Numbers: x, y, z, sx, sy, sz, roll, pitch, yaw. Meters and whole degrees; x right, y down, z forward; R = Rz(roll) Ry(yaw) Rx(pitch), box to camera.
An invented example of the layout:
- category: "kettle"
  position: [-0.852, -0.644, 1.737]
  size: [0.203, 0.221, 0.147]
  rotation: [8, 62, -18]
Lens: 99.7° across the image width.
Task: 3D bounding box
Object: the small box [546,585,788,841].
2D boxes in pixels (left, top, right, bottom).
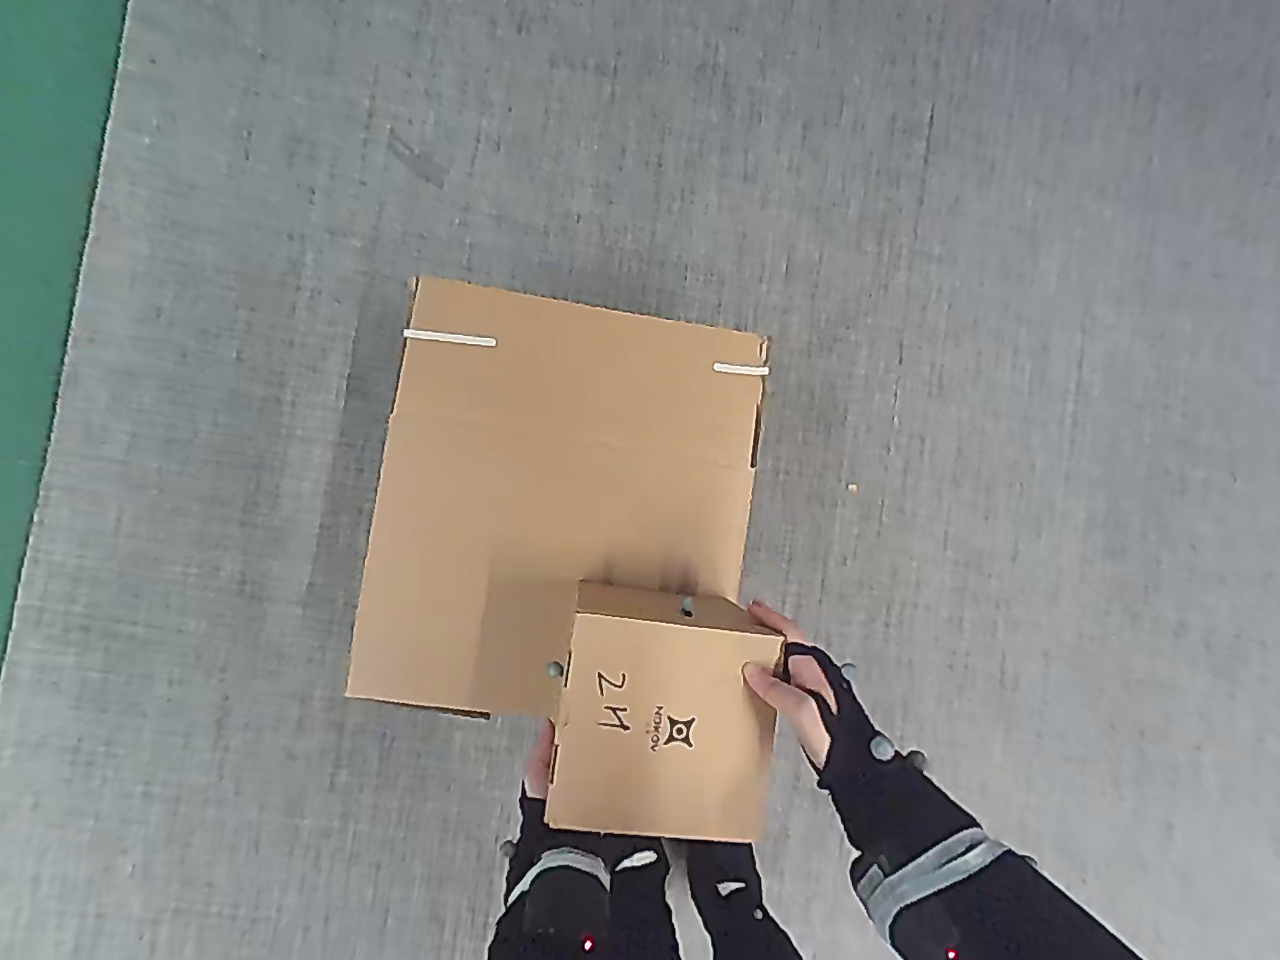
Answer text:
- category: "small box"
  position: [0.017, 0.199, 0.507]
  size: [0.179, 0.176, 0.168]
  rotation: [9, 86, -5]
